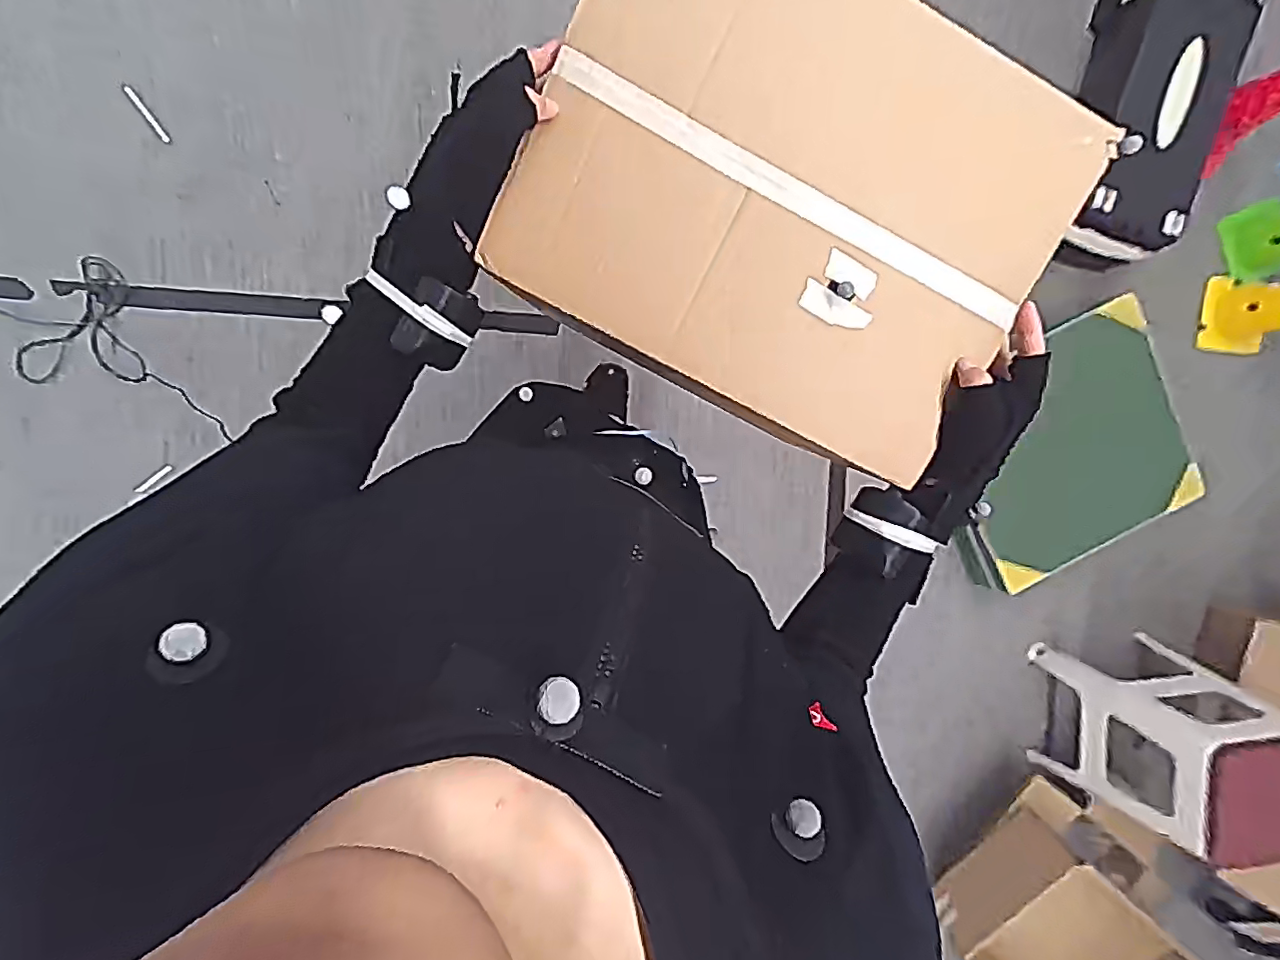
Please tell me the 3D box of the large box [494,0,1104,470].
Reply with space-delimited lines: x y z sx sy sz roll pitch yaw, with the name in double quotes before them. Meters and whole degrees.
"large box" 0.118 -0.253 0.574 0.408 0.320 0.320 27 100 -7
